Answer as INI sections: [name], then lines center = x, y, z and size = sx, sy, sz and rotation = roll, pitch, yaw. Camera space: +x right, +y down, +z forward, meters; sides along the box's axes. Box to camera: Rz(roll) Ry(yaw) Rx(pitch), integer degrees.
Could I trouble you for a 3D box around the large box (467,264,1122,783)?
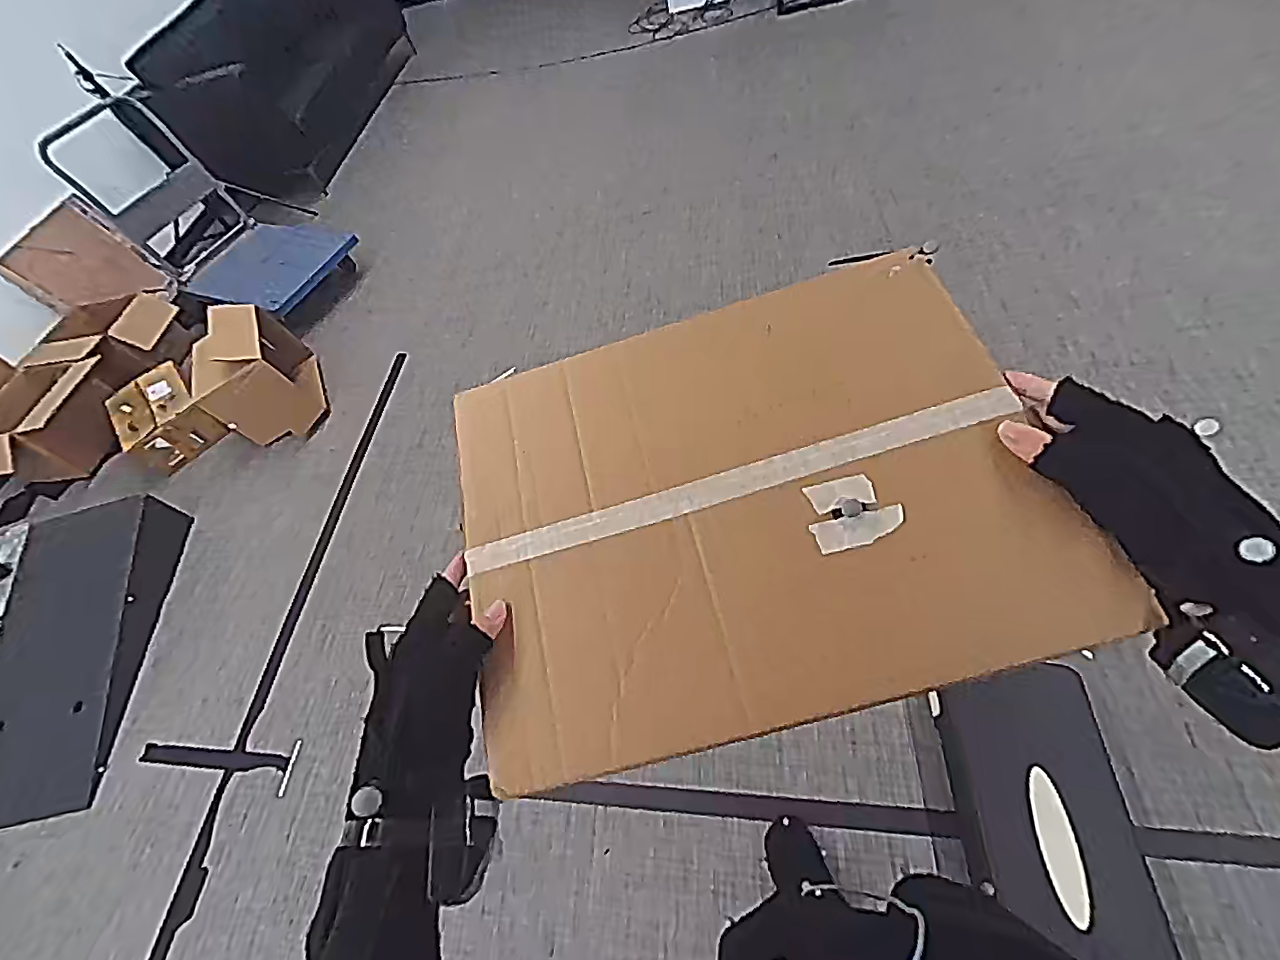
[large box]
center = 0.095, 0.067, 0.535
size = 0.408, 0.320, 0.320
rotation = -17, 64, 4
